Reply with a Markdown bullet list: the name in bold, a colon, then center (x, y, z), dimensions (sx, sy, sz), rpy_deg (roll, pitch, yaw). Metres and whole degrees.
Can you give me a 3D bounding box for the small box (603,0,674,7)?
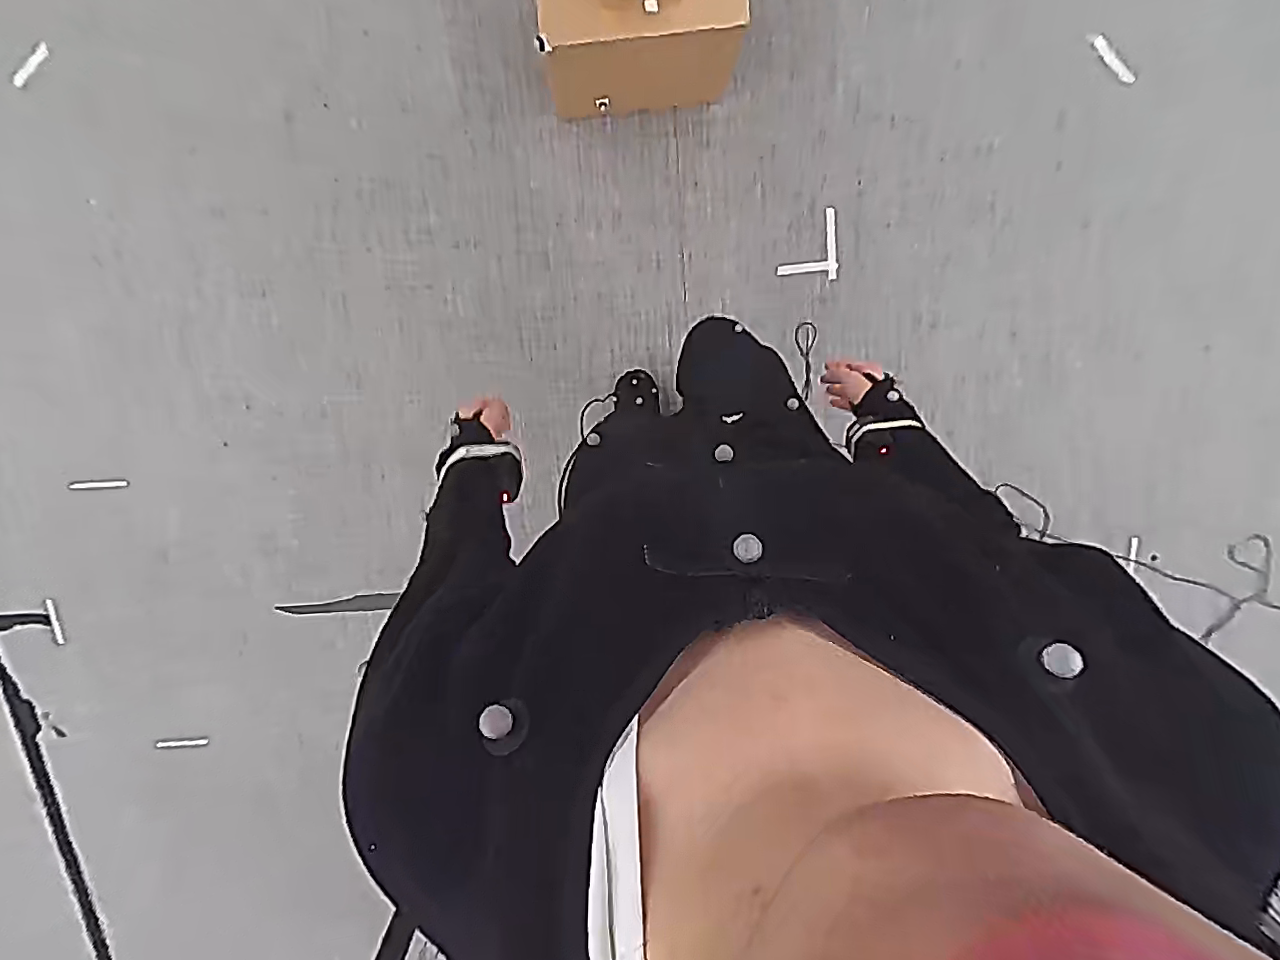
- **small box**: center (-0.004, -0.969, 0.925), dimensions (0.168, 0.176, 0.179), rpy_deg (-7, 102, 0)
